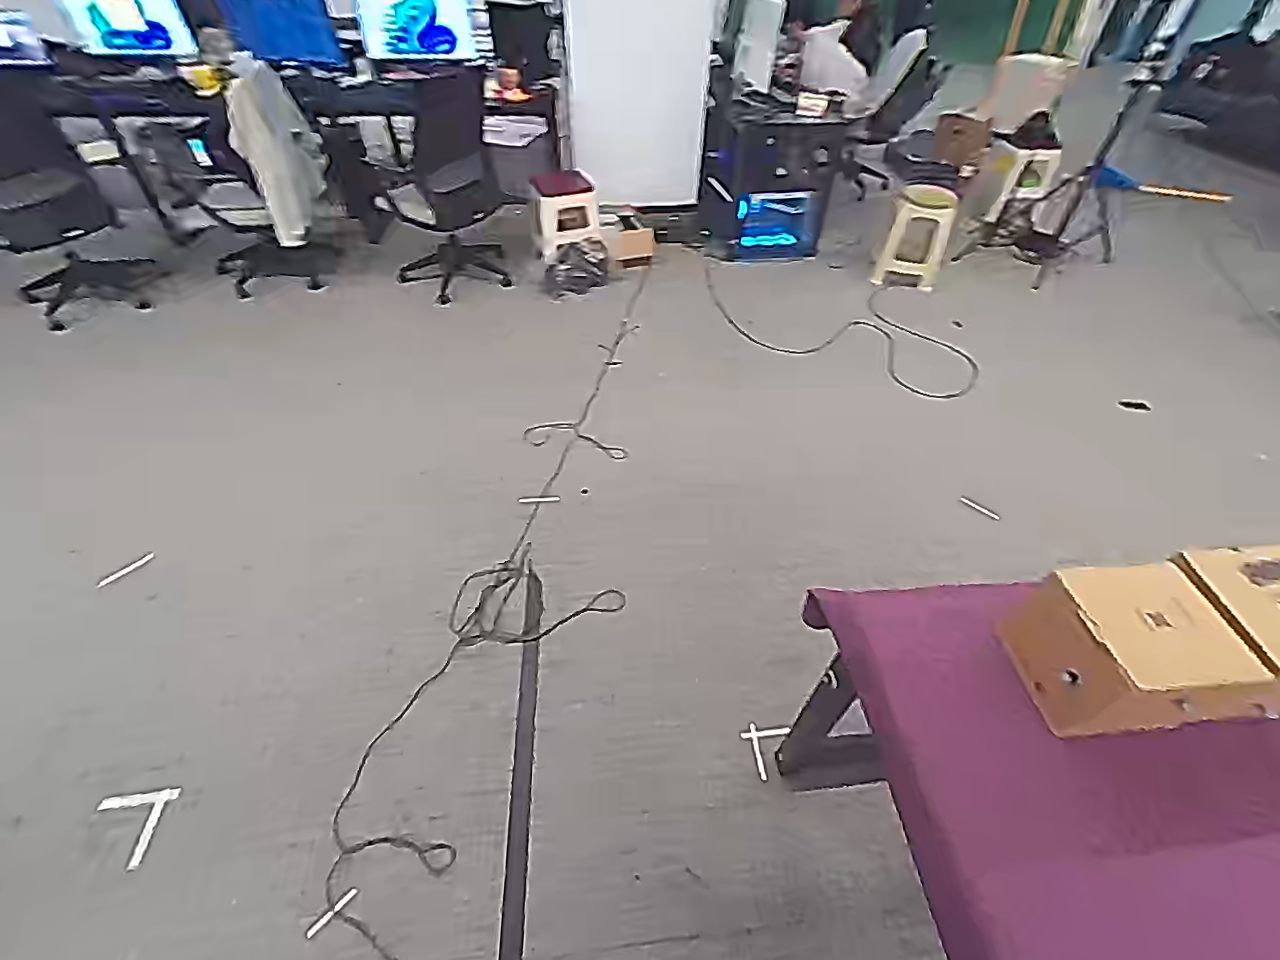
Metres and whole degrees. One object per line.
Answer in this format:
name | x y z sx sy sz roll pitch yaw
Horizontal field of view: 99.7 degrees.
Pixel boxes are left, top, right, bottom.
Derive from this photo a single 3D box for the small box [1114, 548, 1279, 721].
small box | 0.830 0.214 0.751 0.168 0.176 0.179 -3 48 -1
